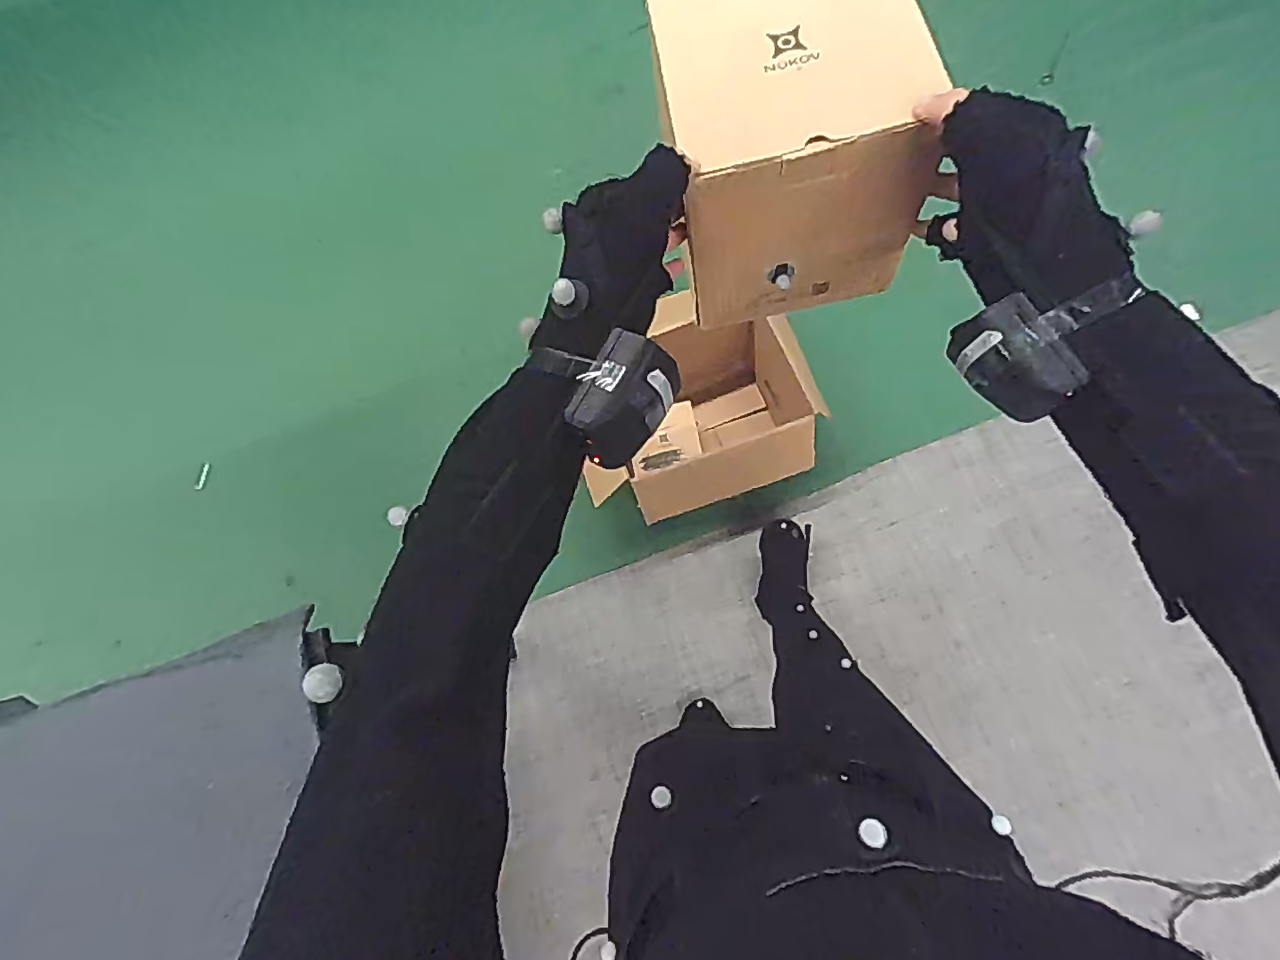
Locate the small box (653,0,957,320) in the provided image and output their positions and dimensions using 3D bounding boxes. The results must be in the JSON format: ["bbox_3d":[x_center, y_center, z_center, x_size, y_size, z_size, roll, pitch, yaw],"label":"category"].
[{"bbox_3d":[0.108,-0.257,0.426,0.168,0.176,0.179,-10,73,6],"label":"small box"}]
